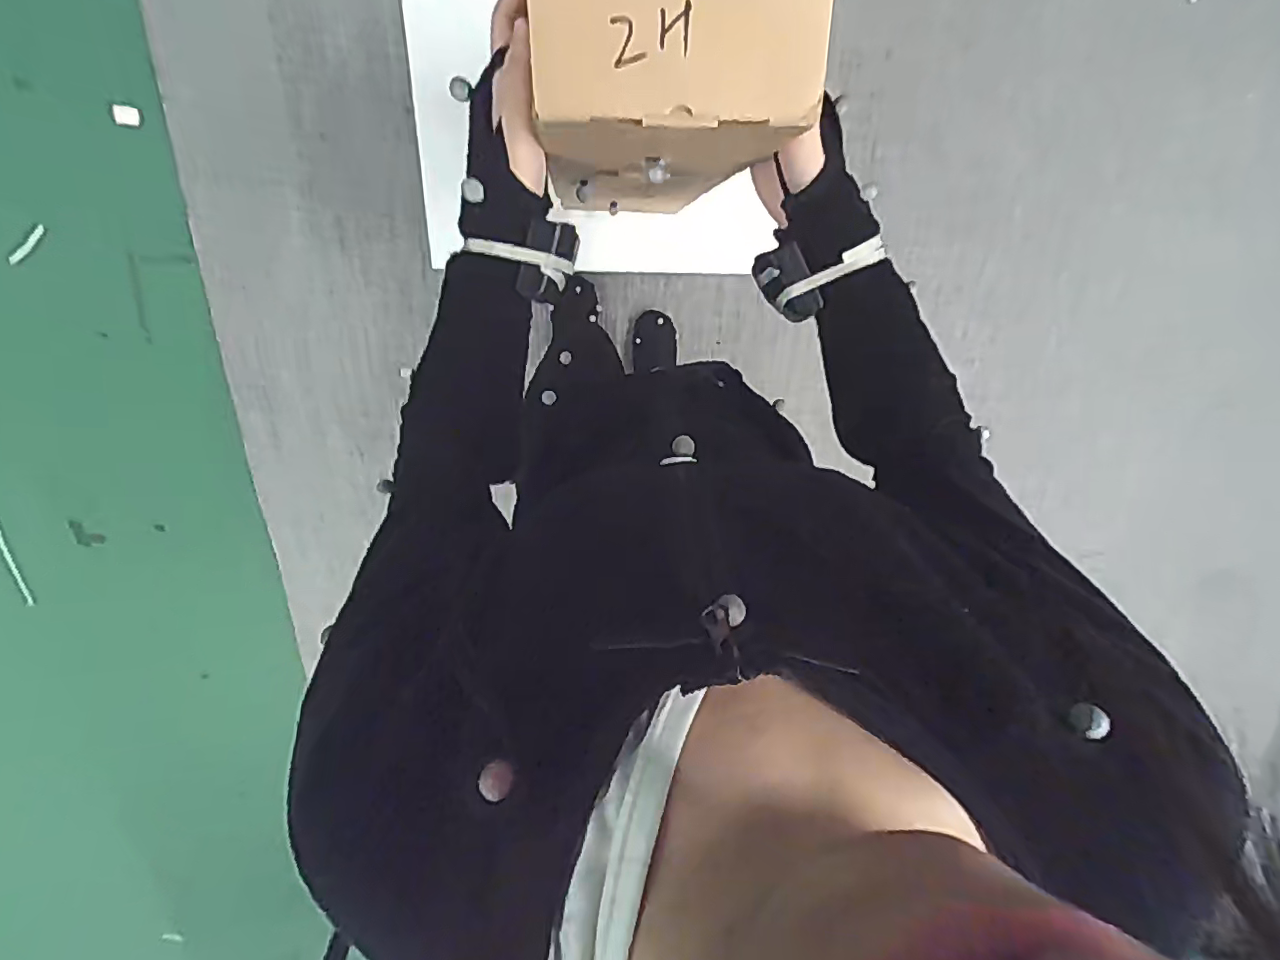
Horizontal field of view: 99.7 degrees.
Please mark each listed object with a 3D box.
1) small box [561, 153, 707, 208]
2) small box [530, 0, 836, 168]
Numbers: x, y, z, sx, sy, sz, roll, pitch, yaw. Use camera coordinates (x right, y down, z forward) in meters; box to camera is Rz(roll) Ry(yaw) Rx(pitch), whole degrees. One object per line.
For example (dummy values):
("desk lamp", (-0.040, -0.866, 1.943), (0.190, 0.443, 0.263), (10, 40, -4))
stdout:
("small box", (-0.013, -0.437, 0.650), (0.168, 0.176, 0.179), (-1, 111, -6))
("small box", (0.015, -0.316, 0.345), (0.168, 0.176, 0.179), (-2, 111, -5))
